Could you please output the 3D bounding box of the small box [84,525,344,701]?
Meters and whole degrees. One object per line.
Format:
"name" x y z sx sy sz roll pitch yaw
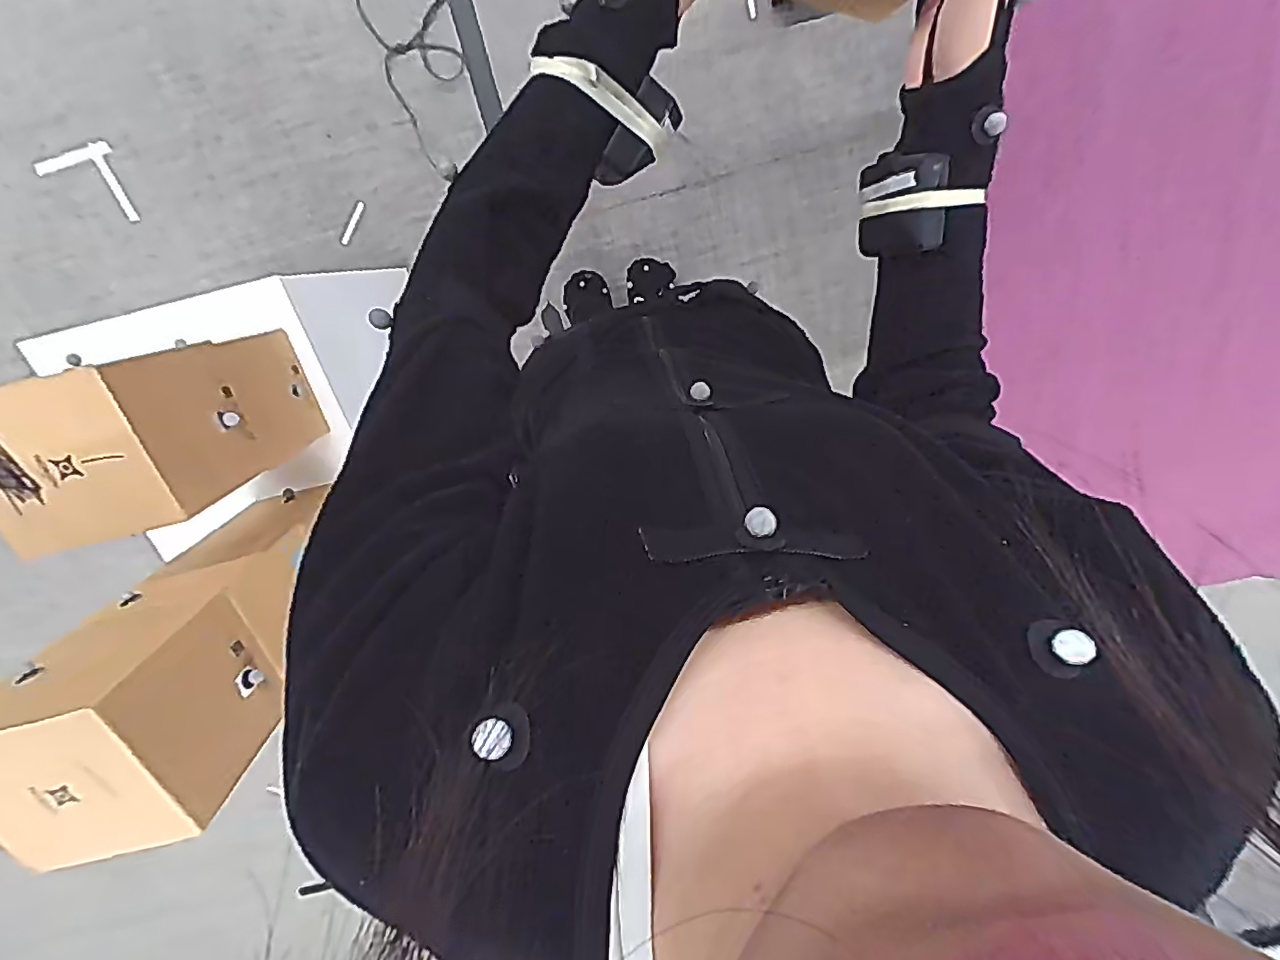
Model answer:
"small box" -0.513 0.177 0.691 0.179 0.176 0.168 -15 113 3

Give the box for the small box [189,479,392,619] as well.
"small box" -0.525 0.116 0.842 0.179 0.176 0.168 -13 112 2

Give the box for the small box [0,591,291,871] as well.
"small box" -0.505 0.238 0.541 0.179 0.176 0.168 -15 114 2

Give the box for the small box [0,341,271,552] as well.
"small box" -0.562 -0.046 0.593 0.179 0.176 0.168 -12 114 0
